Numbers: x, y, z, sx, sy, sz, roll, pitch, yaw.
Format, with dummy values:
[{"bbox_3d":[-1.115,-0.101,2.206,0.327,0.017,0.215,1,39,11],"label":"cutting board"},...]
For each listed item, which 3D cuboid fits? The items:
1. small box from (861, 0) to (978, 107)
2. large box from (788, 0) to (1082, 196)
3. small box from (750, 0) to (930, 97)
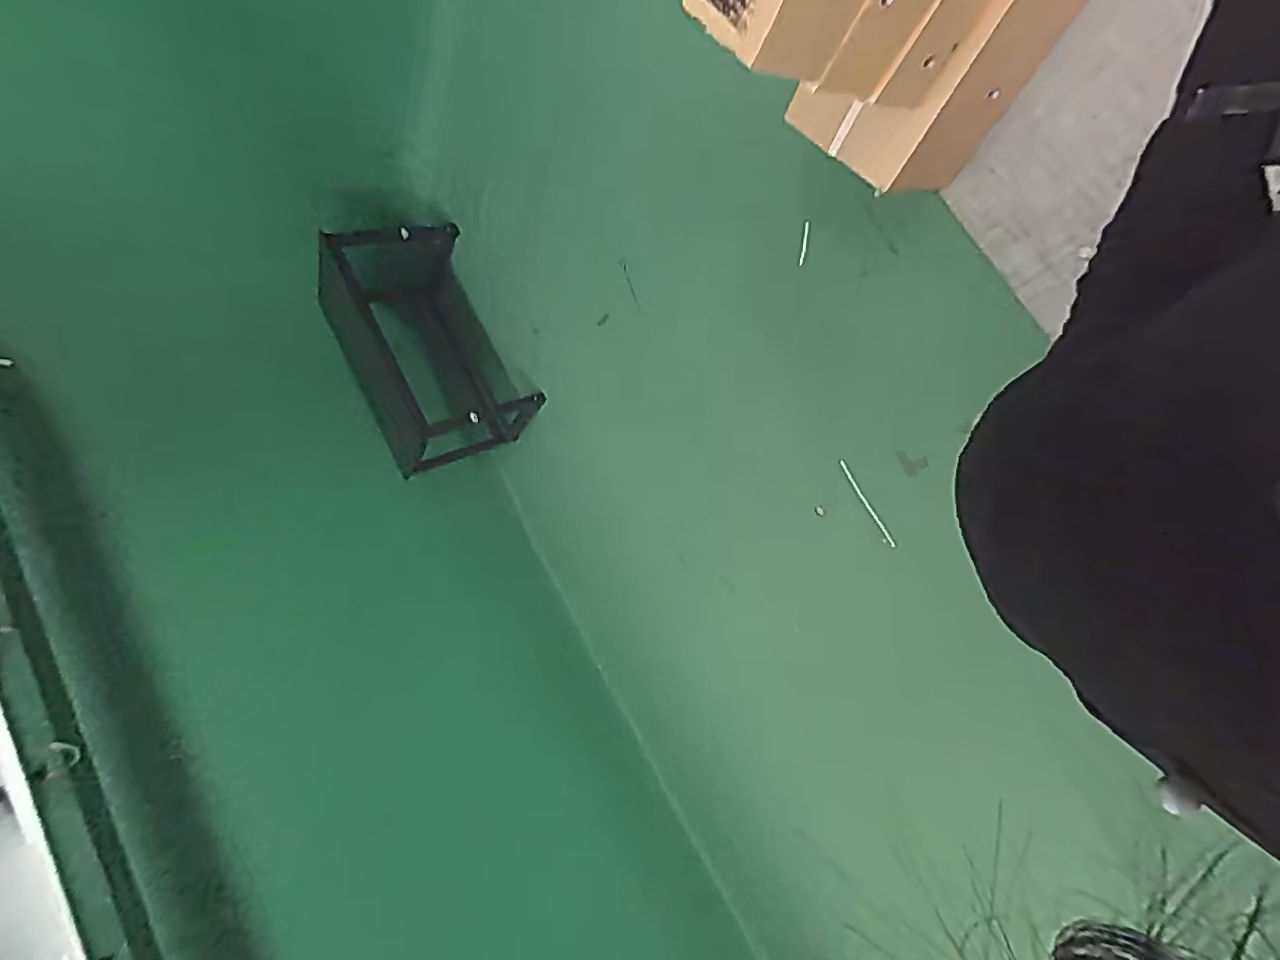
[{"bbox_3d":[0.436,-0.777,0.933,0.179,0.176,0.168,54,142,15],"label":"small box"},{"bbox_3d":[0.591,-0.867,1.106,0.320,0.320,0.408,51,143,21],"label":"large box"},{"bbox_3d":[0.314,-0.731,0.837,0.168,0.176,0.179,55,142,14],"label":"small box"}]
